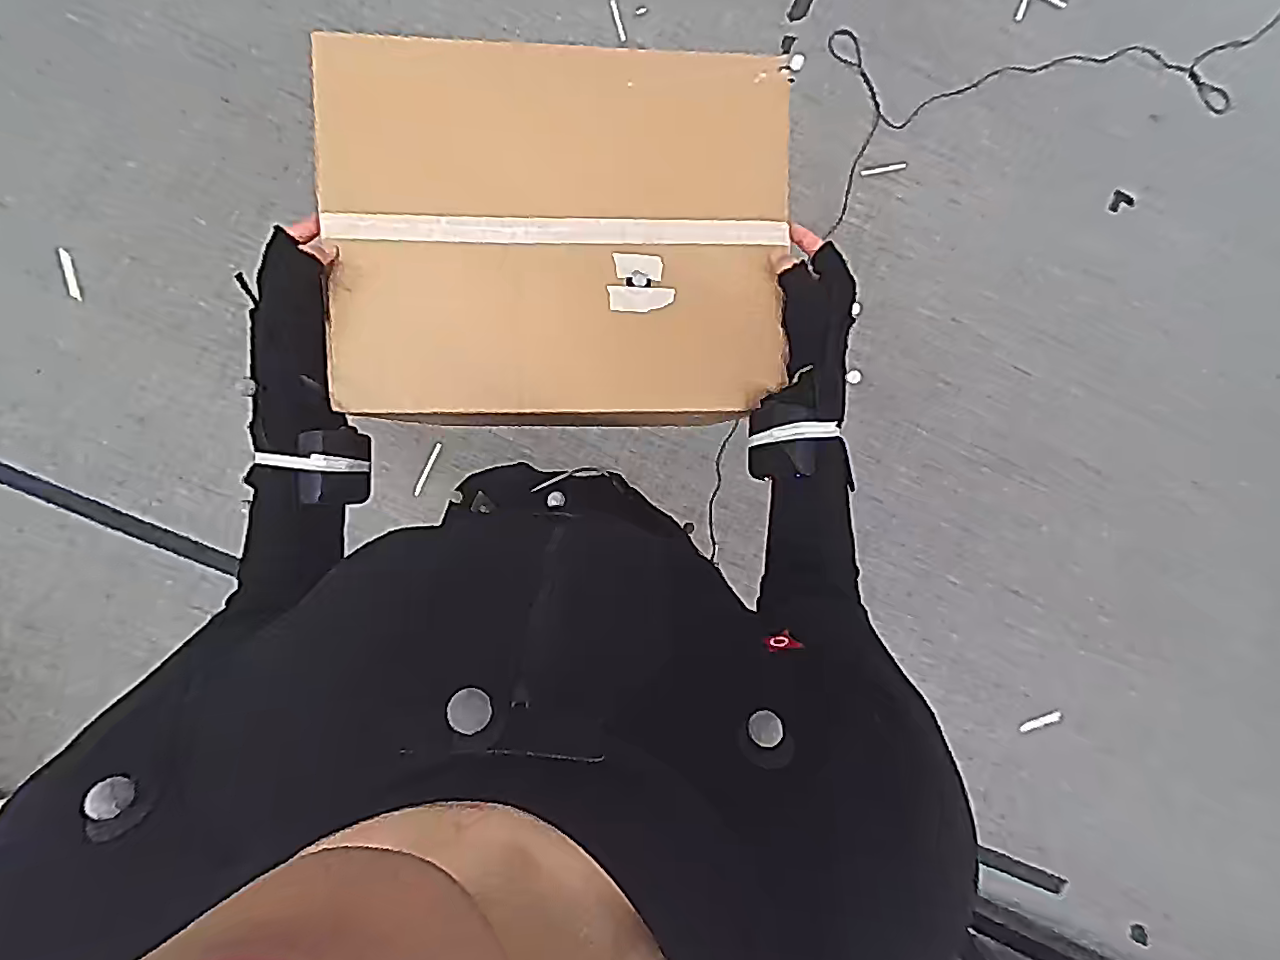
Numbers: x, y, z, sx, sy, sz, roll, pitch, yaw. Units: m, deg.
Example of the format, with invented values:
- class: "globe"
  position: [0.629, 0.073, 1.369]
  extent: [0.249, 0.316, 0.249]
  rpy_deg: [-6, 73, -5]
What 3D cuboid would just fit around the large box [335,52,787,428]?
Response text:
- class: "large box"
  position: [-0.077, -0.223, 0.633]
  extent: [0.408, 0.320, 0.320]
  rpy_deg: [0, 95, -5]
